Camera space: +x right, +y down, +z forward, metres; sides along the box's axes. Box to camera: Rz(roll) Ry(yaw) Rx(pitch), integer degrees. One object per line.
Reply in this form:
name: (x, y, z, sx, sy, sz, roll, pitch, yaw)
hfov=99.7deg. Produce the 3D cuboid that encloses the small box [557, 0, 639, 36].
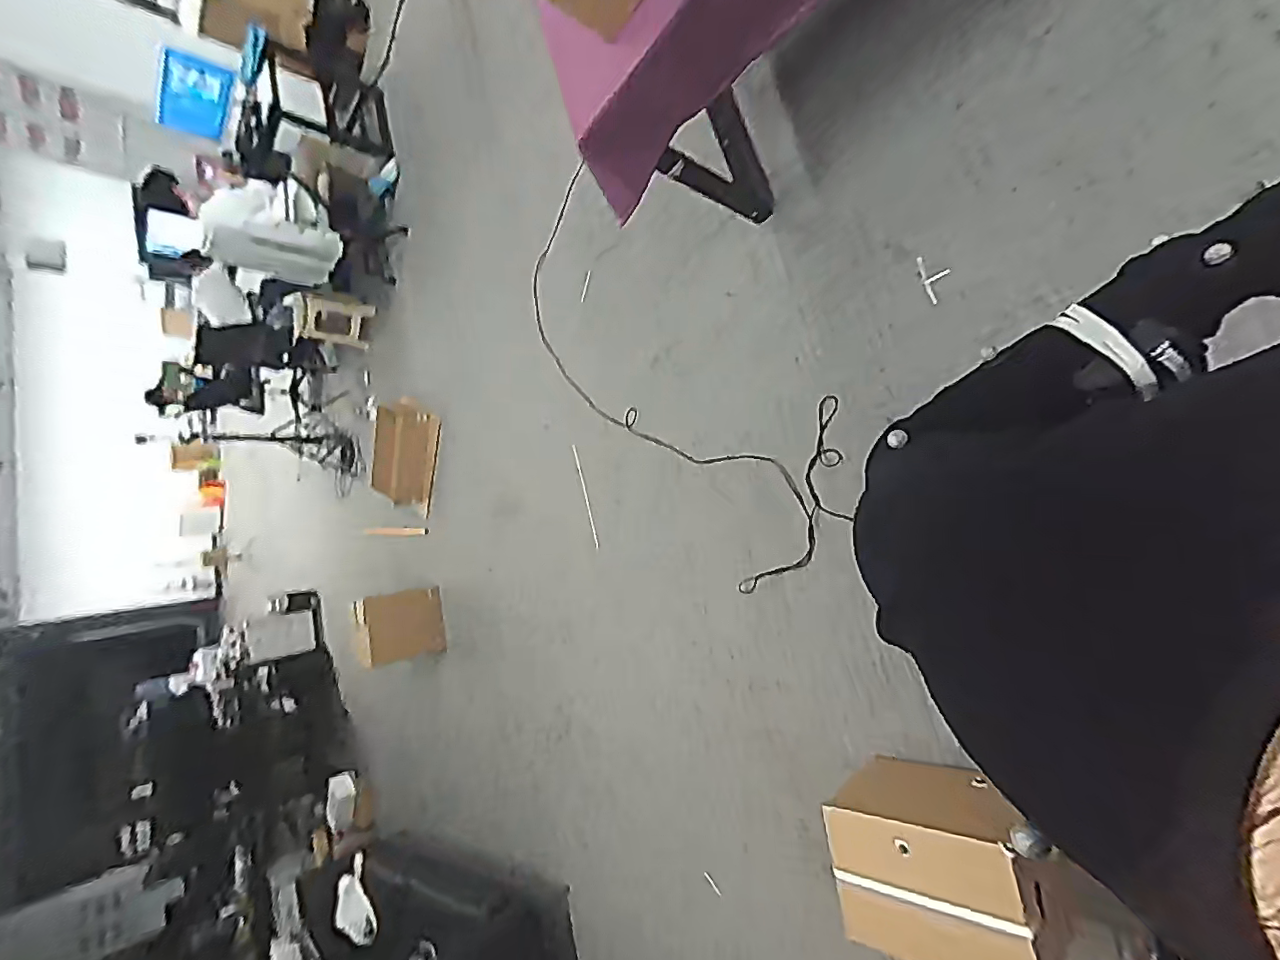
small box: (-0.080, -1.033, 1.046, 0.179, 0.176, 0.168, -25, 74, 43)
